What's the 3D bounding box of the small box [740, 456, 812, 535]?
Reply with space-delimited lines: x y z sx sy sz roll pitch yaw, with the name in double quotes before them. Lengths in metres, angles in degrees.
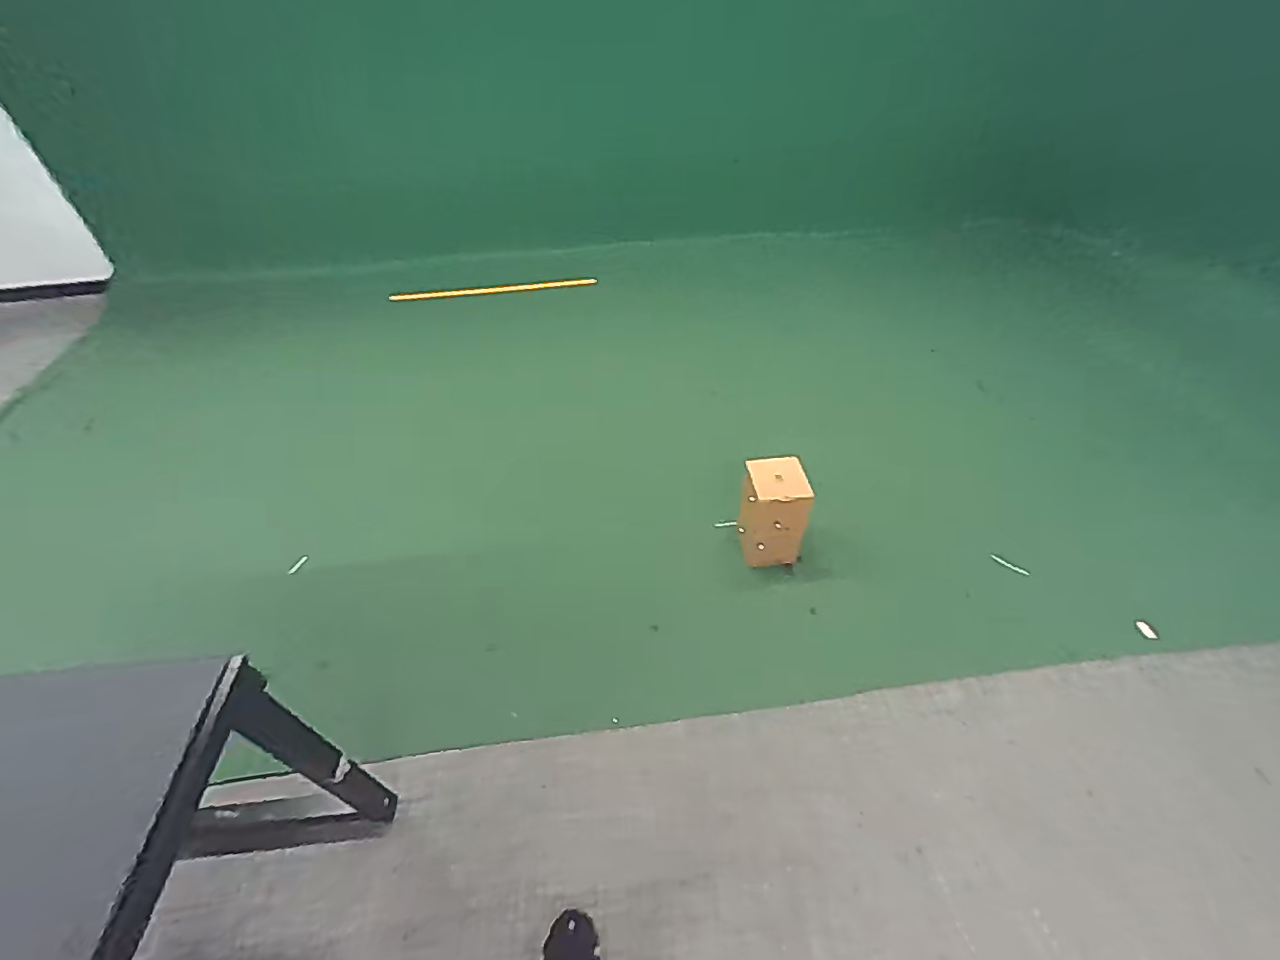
"small box" 0.415 0.049 1.689 0.168 0.176 0.179 -6 45 -3
